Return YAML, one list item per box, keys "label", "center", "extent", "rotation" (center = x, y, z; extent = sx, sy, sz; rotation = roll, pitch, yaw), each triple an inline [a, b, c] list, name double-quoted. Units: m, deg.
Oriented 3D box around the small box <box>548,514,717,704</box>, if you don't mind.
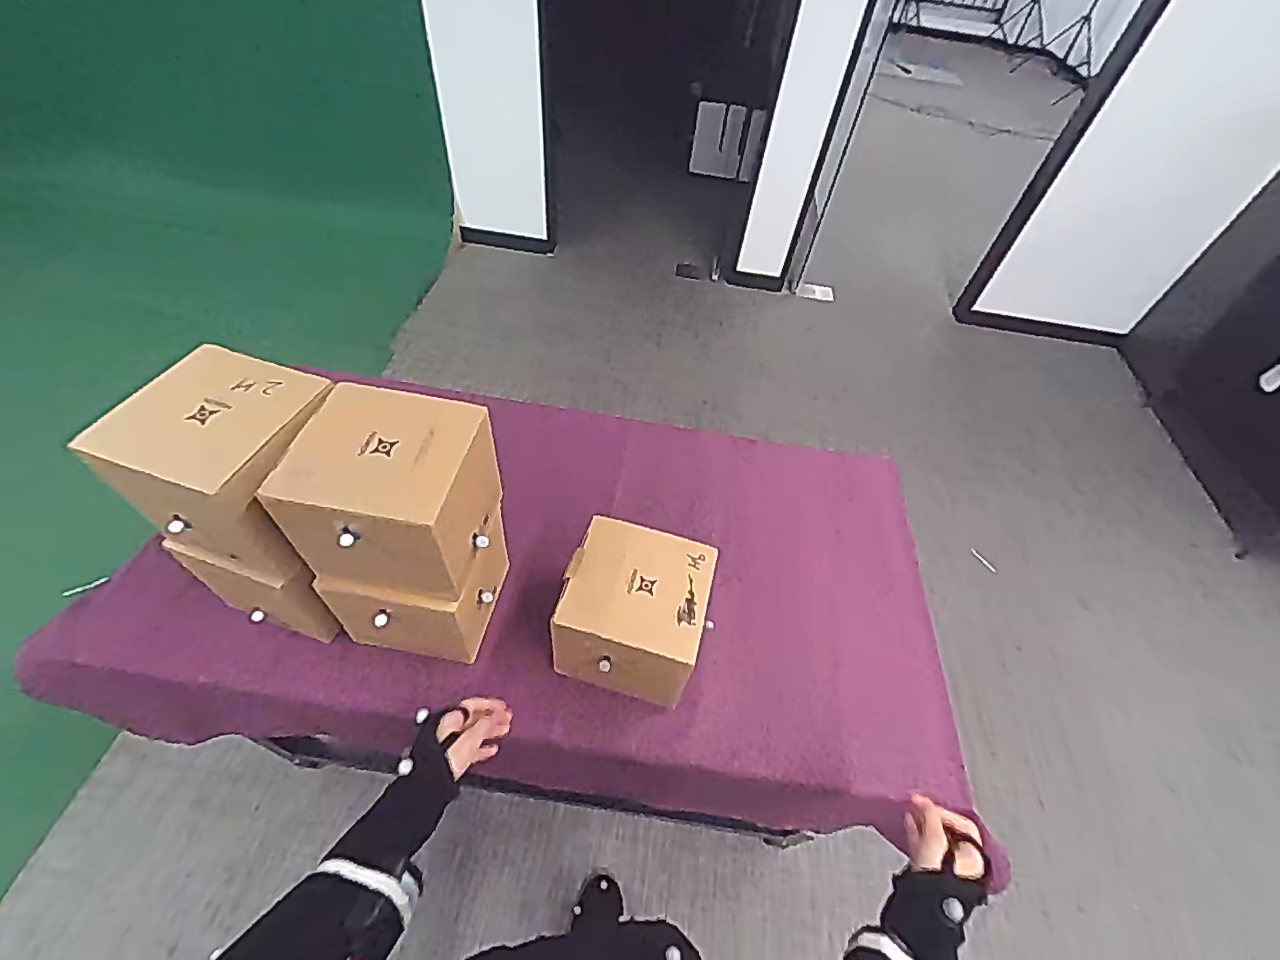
- label: "small box"
  center: [-0.011, 0.177, 0.728]
  extent: [0.179, 0.176, 0.168]
  rotation: [16, 50, 6]
